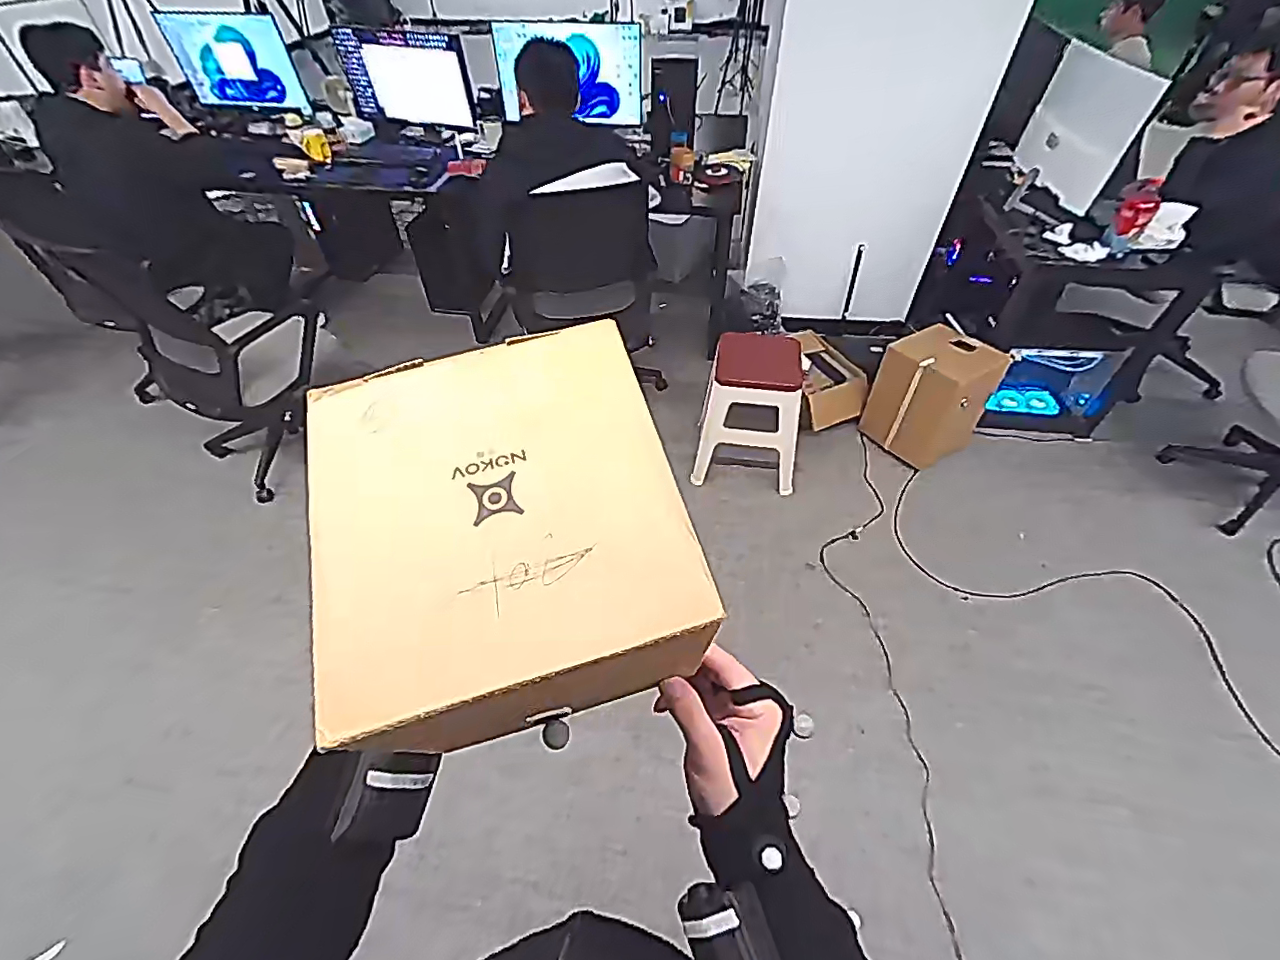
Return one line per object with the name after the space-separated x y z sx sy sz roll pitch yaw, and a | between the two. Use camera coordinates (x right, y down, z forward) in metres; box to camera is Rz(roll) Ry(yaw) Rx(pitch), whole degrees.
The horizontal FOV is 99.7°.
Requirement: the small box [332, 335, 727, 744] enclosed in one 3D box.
-0.063 0.047 0.333 0.168 0.176 0.179 -16 64 -7 | small box
